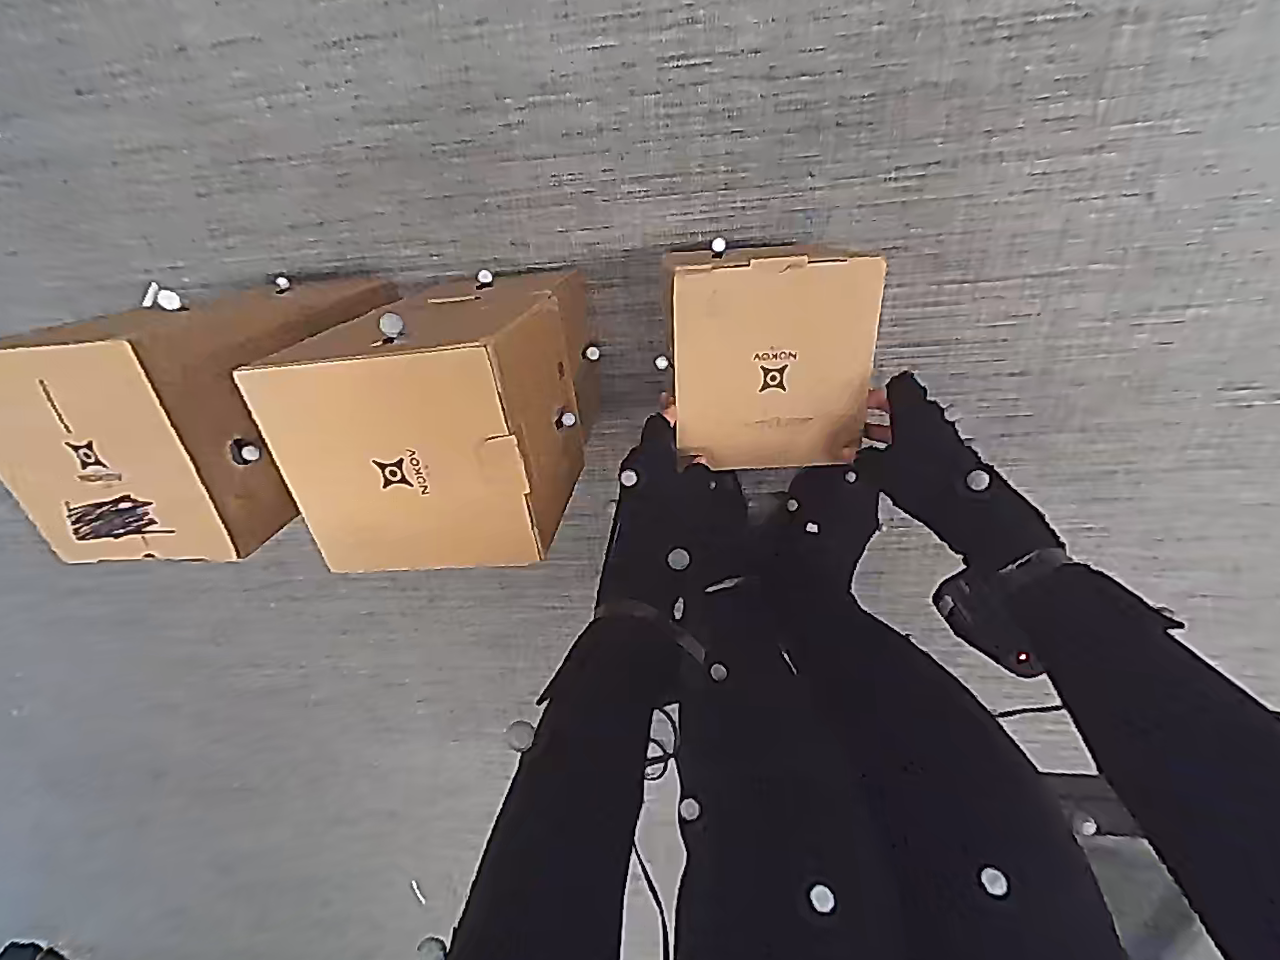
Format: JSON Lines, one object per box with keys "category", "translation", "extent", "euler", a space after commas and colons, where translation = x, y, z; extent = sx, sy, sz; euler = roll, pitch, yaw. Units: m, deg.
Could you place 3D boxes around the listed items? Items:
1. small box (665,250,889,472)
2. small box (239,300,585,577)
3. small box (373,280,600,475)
{"category": "small box", "translation": [0.111, -0.123, 0.517], "extent": [0.168, 0.176, 0.179], "euler": [-2, 116, 1]}
{"category": "small box", "translation": [-0.155, -0.041, 0.438], "extent": [0.179, 0.176, 0.168], "euler": [-4, 119, 8]}
{"category": "small box", "translation": [-0.145, -0.113, 0.583], "extent": [0.168, 0.176, 0.179], "euler": [-2, 118, 9]}
